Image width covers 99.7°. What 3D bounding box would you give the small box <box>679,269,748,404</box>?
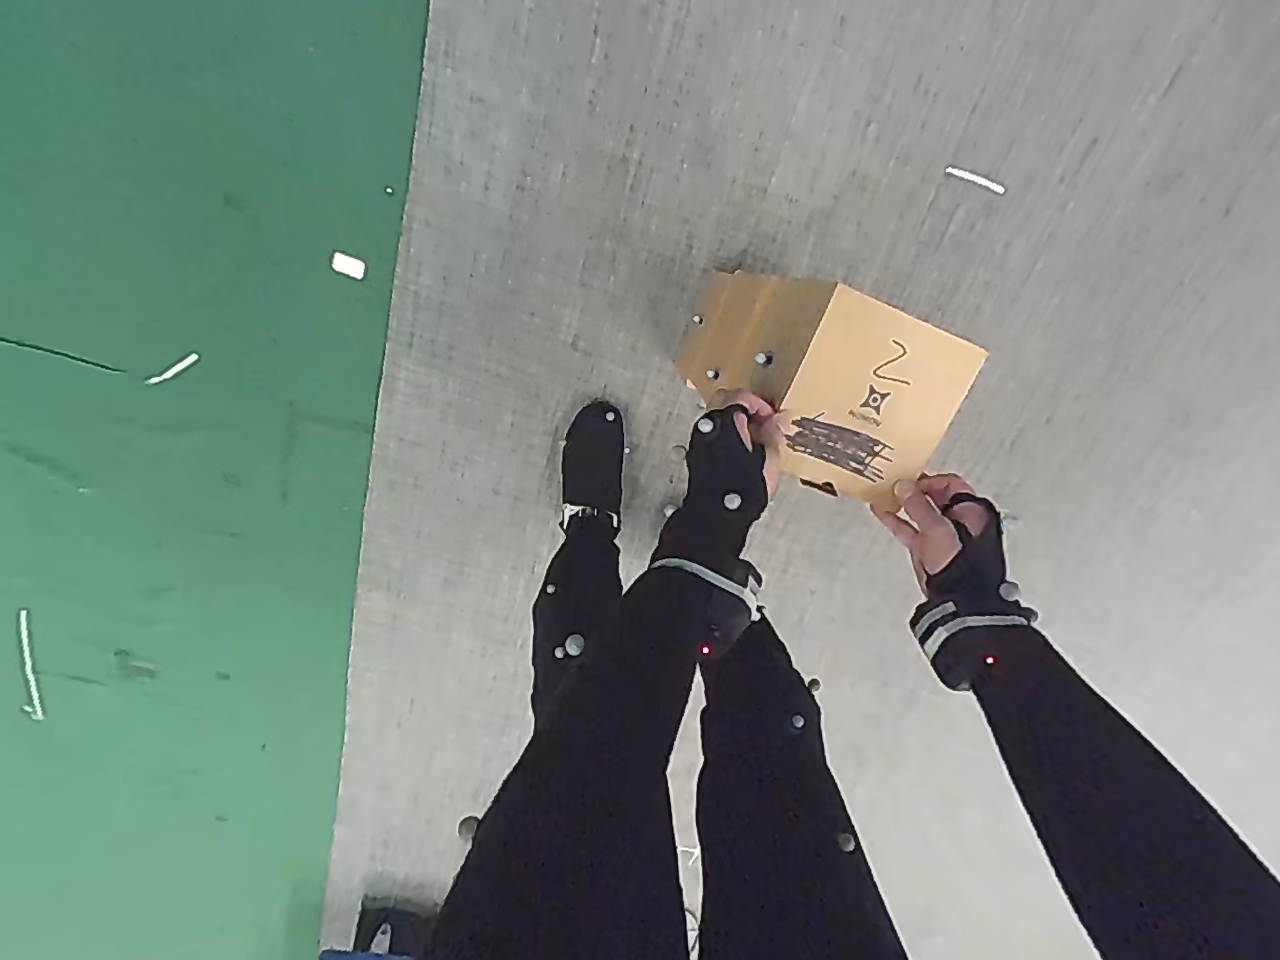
[{"bbox_3d":[0.172,-0.231,0.896,0.168,0.176,0.179,19,111,-11],"label":"small box"}]

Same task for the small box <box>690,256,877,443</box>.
[{"bbox_3d":[0.185,-0.186,0.748,0.168,0.176,0.179,-35,110,14],"label":"small box"}]
